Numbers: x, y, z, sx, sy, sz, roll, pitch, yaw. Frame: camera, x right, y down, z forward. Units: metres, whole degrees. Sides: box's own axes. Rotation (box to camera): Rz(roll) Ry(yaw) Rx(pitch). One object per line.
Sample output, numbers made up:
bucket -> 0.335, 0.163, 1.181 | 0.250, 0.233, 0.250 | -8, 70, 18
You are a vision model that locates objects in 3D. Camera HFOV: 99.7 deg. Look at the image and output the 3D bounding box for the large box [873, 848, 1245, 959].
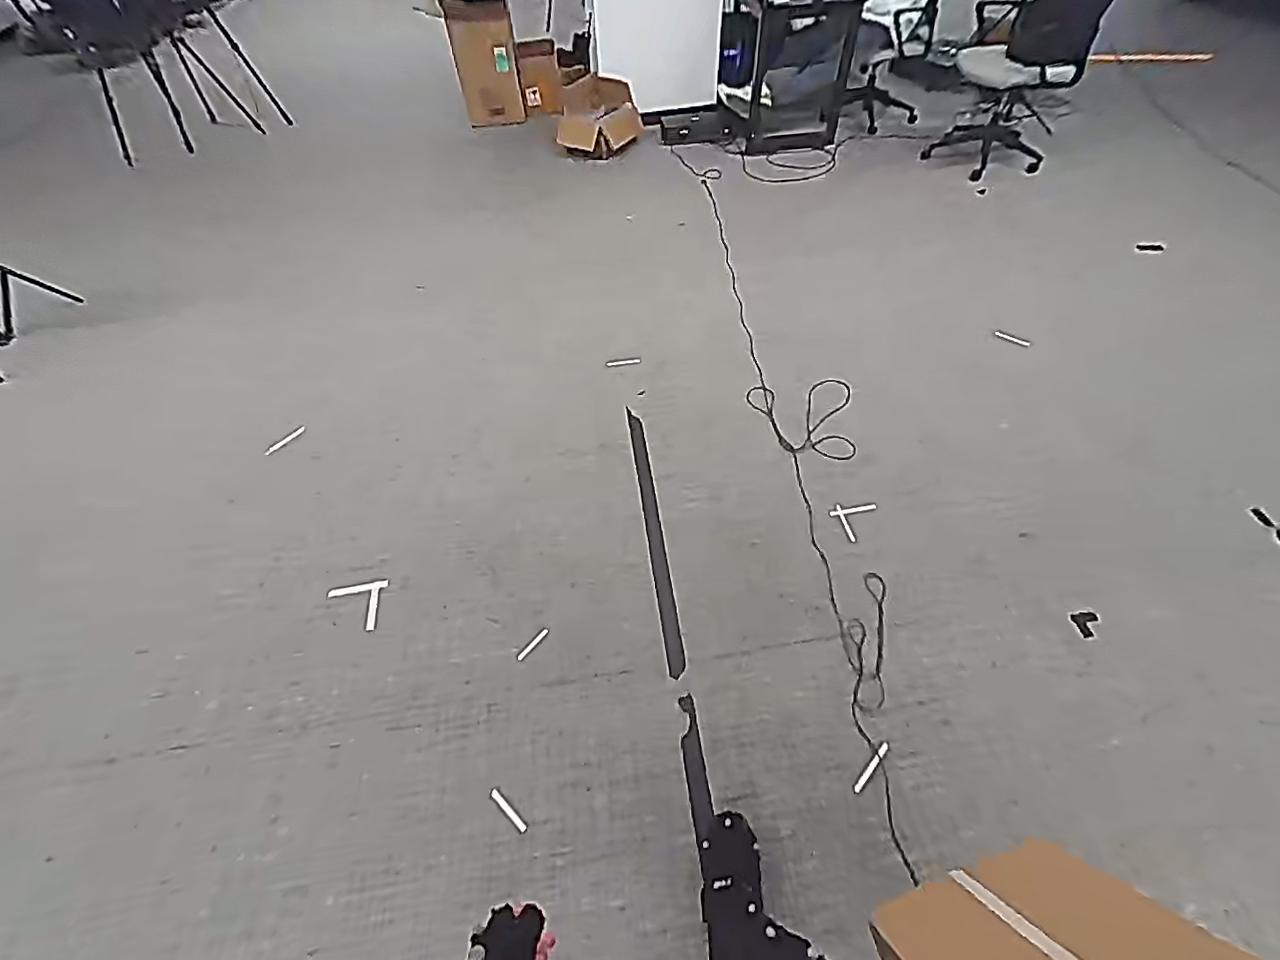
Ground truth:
large box -> 0.550, 0.718, 0.614 | 0.320, 0.408, 0.320 | -16, 80, -8
